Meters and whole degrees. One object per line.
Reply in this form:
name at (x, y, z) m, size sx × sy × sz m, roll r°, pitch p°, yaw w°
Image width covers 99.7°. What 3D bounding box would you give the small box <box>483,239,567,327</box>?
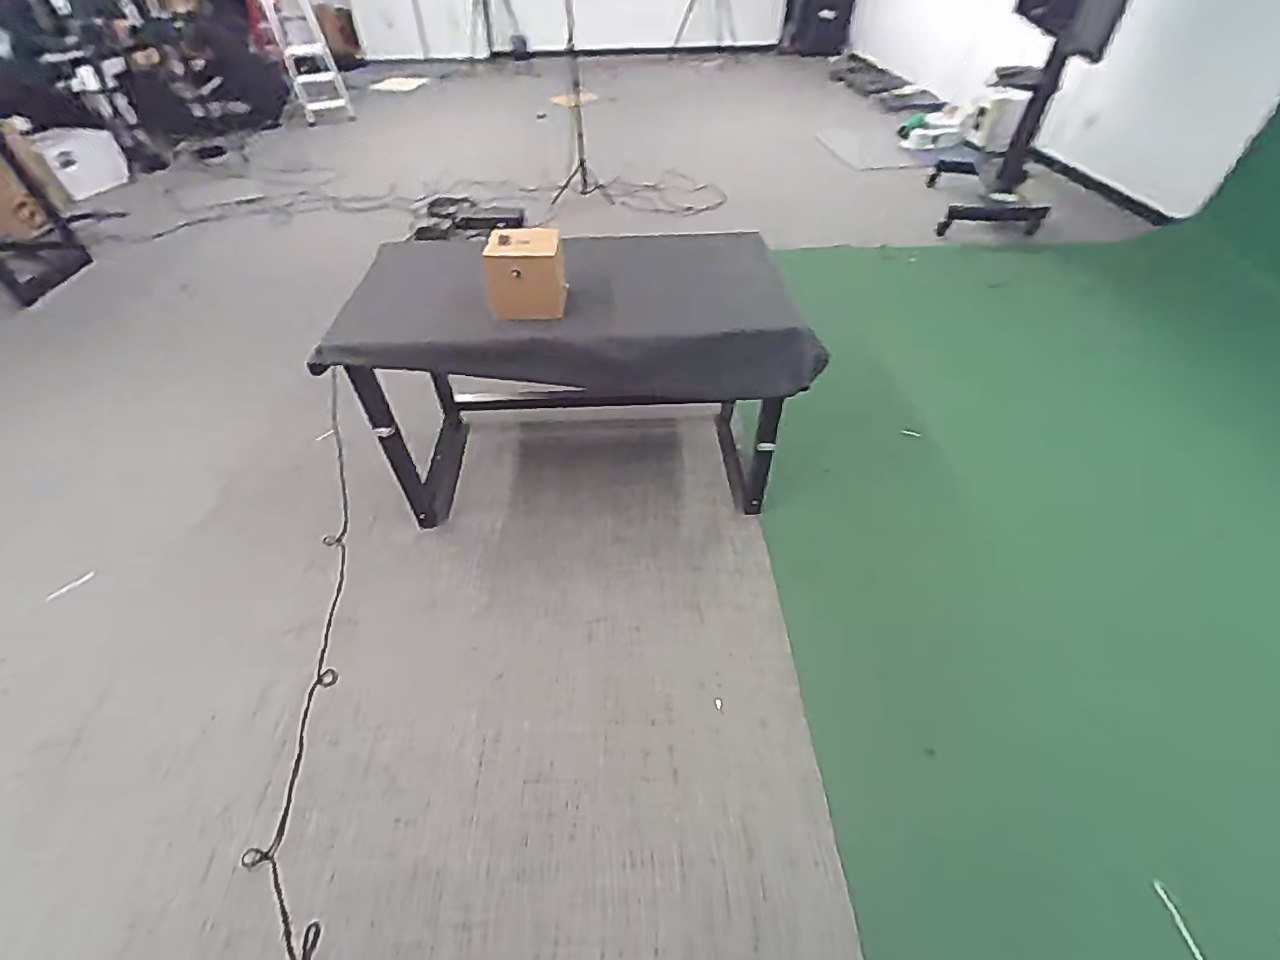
small box at (-0.291, -0.512, 1.409) m, size 0.179 × 0.176 × 0.168 m, roll 0°, pitch 46°, yaw -1°
